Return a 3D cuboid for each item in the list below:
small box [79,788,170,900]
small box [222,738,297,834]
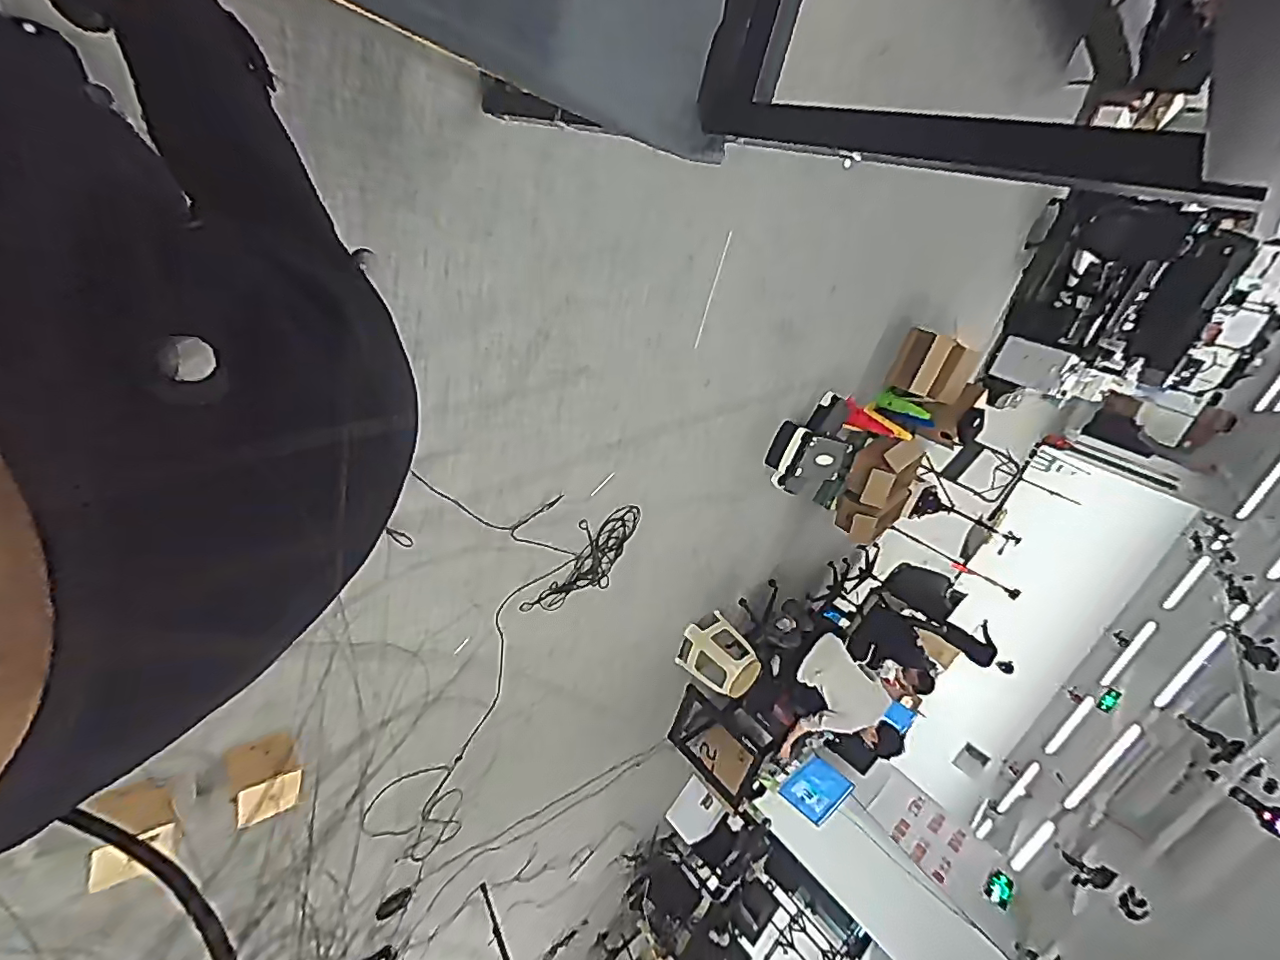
[{"bbox_3d":[-1.443,1.002,1.511,0.168,0.176,0.179,2,116,-48],"label":"small box"},{"bbox_3d":[-1.224,0.974,1.736,0.168,0.176,0.179,-6,121,-46],"label":"small box"}]
